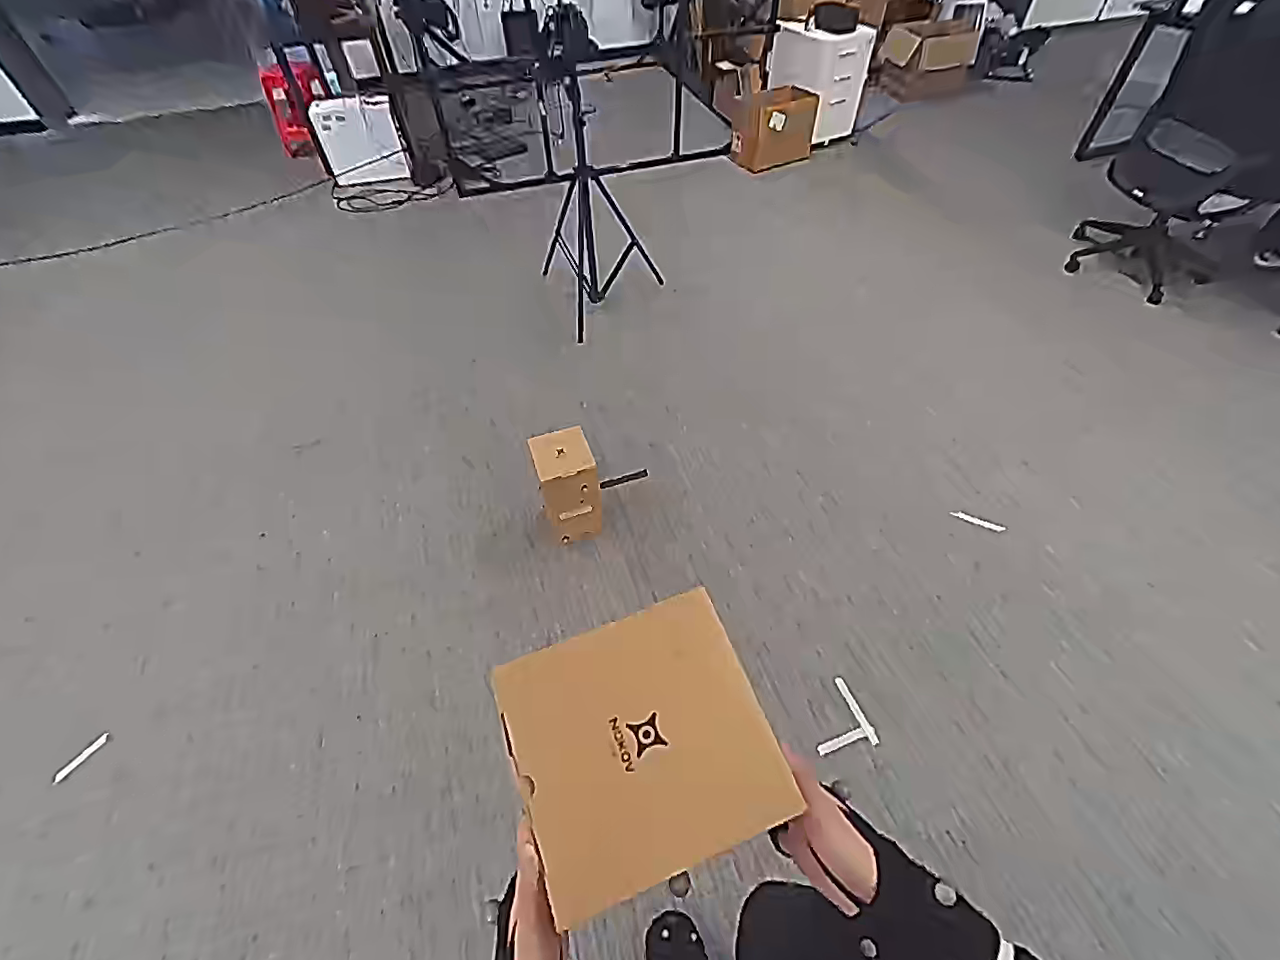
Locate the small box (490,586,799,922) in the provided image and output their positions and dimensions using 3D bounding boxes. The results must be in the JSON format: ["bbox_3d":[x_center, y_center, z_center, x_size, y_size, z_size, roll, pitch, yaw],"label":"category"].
[{"bbox_3d":[-0.003,0.212,0.449,0.179,0.176,0.168,-20,65,-10],"label":"small box"}]

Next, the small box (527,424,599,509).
[{"bbox_3d":[-0.225,-0.032,1.614,0.168,0.176,0.179,-17,52,-12],"label":"small box"}]

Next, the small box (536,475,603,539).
[{"bbox_3d":[-0.223,0.069,1.740,0.168,0.176,0.179,-17,52,-11],"label":"small box"}]
